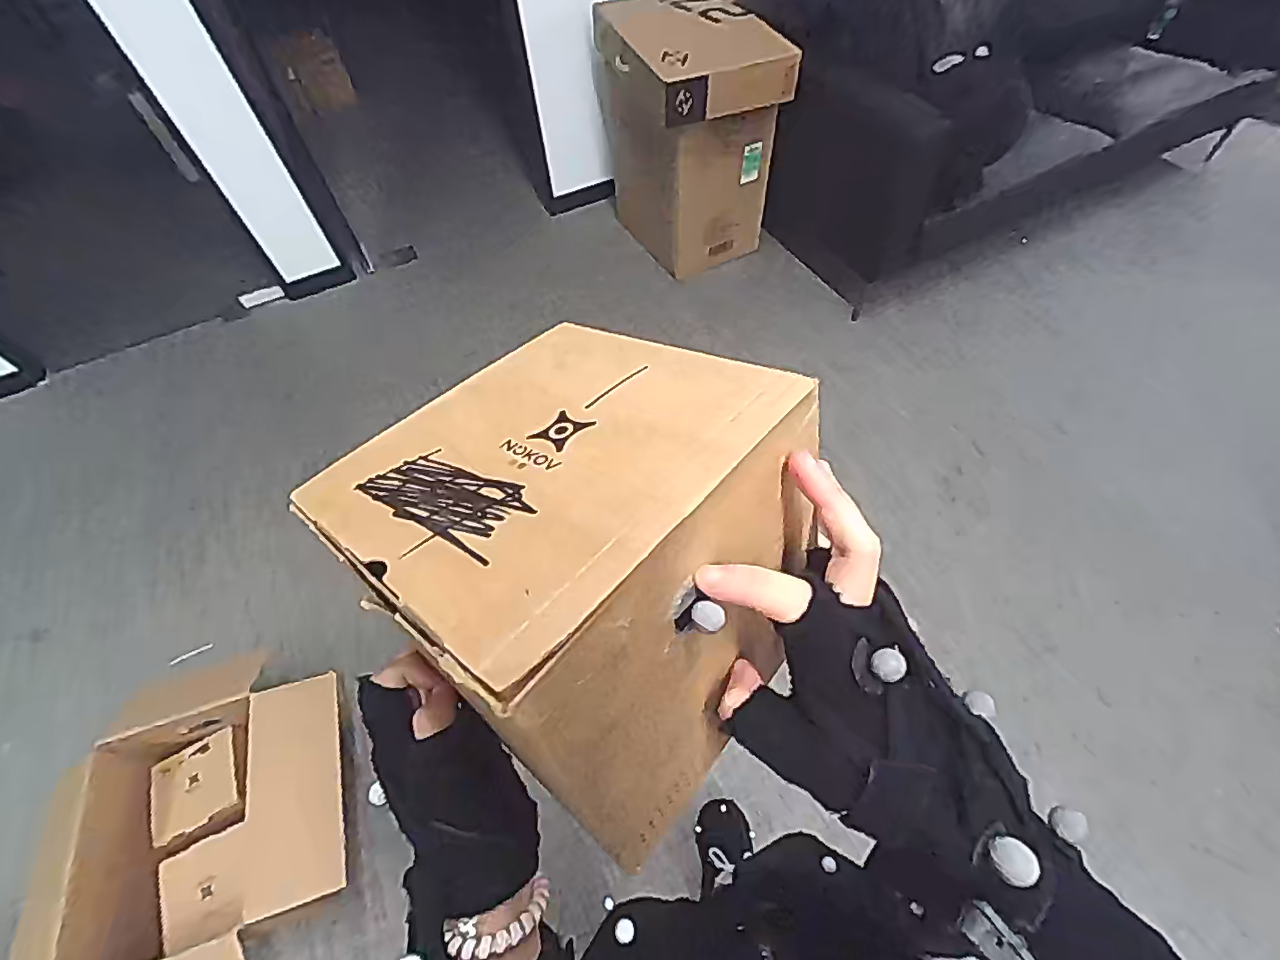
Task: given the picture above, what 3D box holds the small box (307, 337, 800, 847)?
[{"bbox_3d":[-0.024,0.049,0.292,0.168,0.176,0.179,23,54,37],"label":"small box"}]
